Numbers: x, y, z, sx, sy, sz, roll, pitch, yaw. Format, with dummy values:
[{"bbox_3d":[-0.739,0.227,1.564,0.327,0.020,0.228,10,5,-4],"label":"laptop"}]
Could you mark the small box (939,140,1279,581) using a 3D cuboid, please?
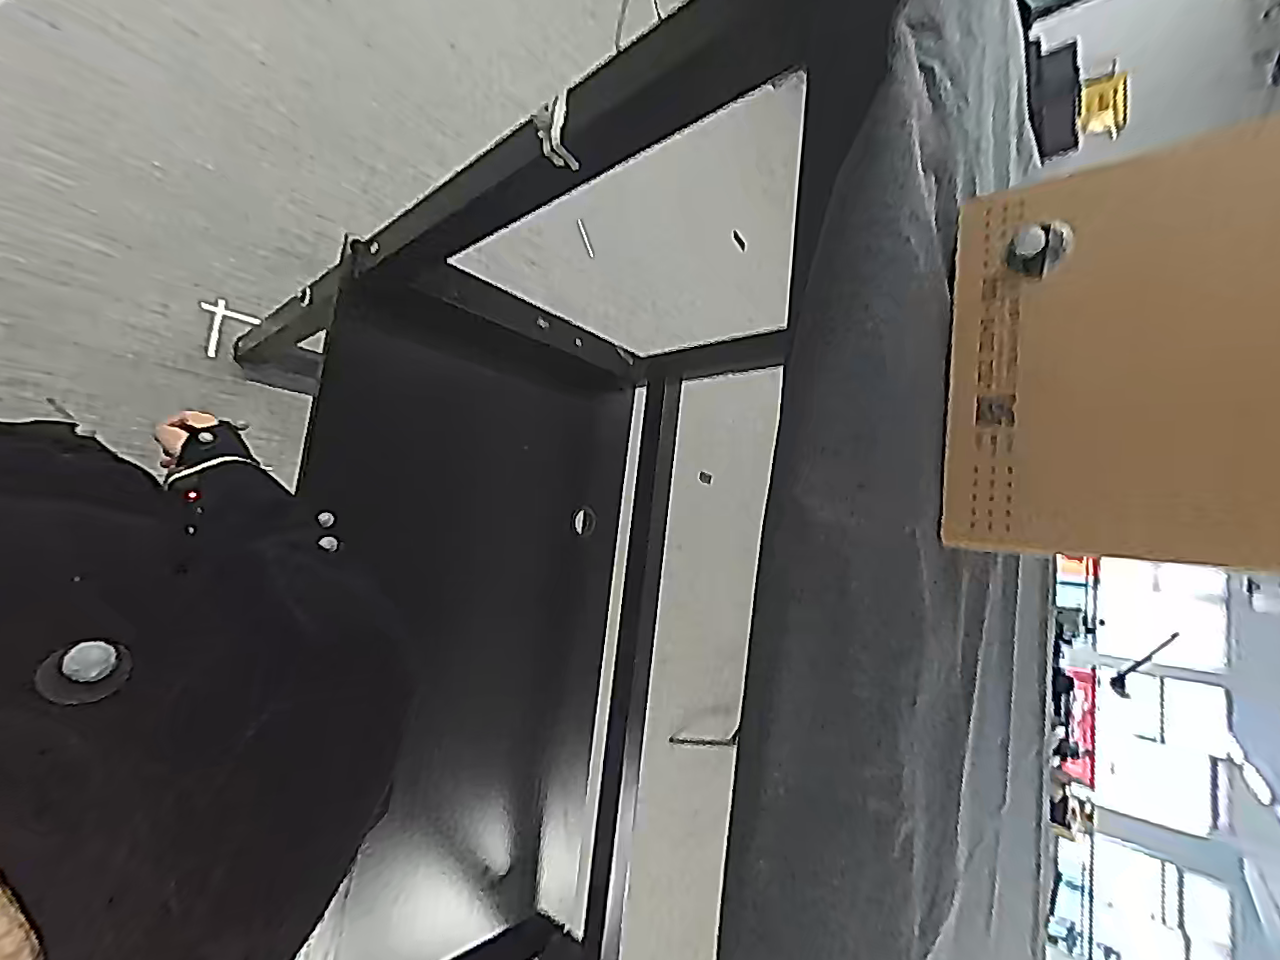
[{"bbox_3d":[0.261,-0.037,0.271,0.179,0.176,0.168,10,84,-50],"label":"small box"}]
